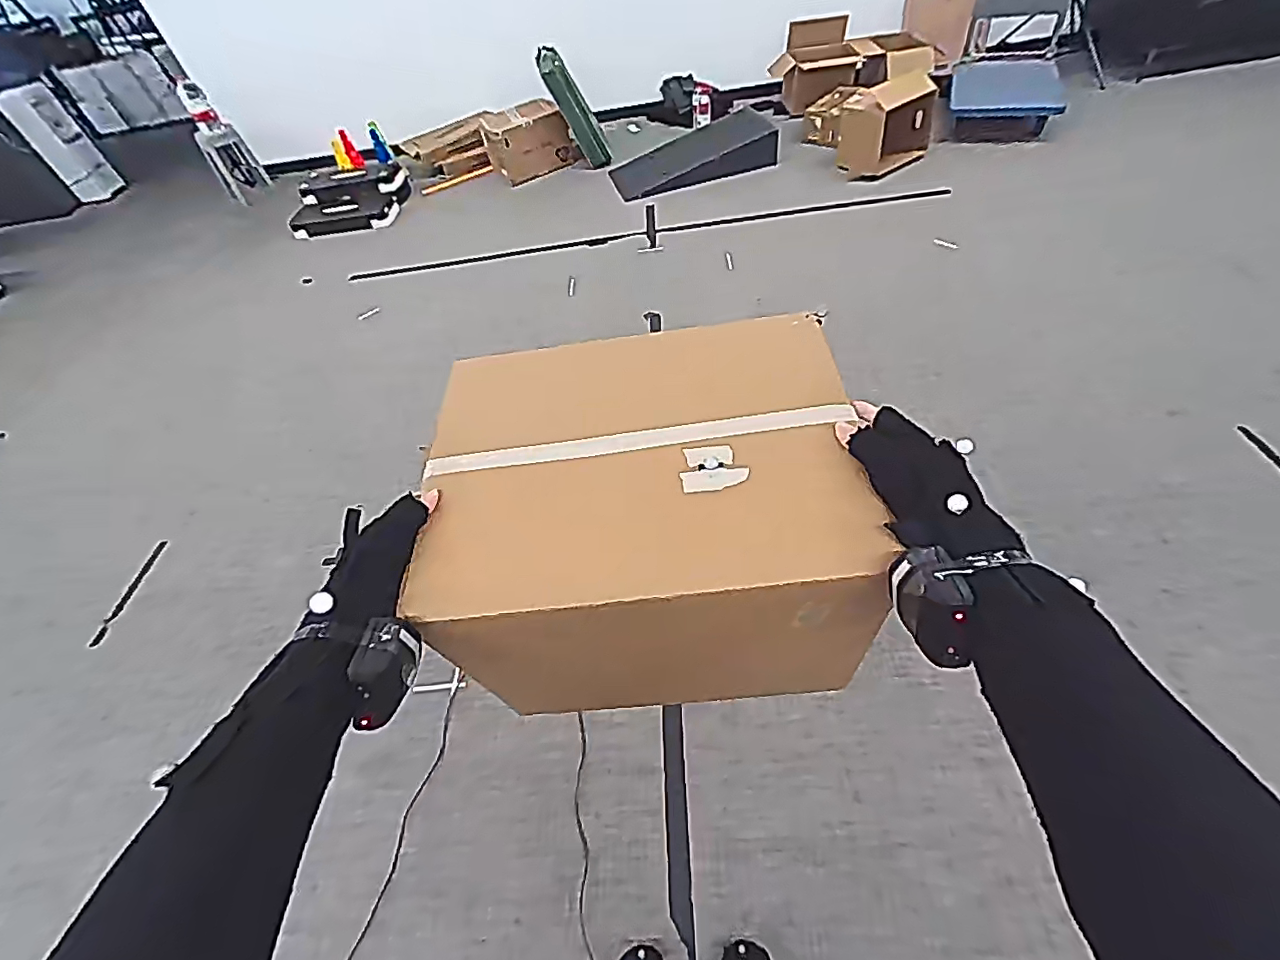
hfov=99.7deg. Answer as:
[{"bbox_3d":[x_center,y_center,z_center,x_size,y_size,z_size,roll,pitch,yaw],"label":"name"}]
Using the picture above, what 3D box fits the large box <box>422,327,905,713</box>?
[{"bbox_3d":[0.021,0.061,0.641,0.408,0.320,0.320,-6,53,4],"label":"large box"}]
